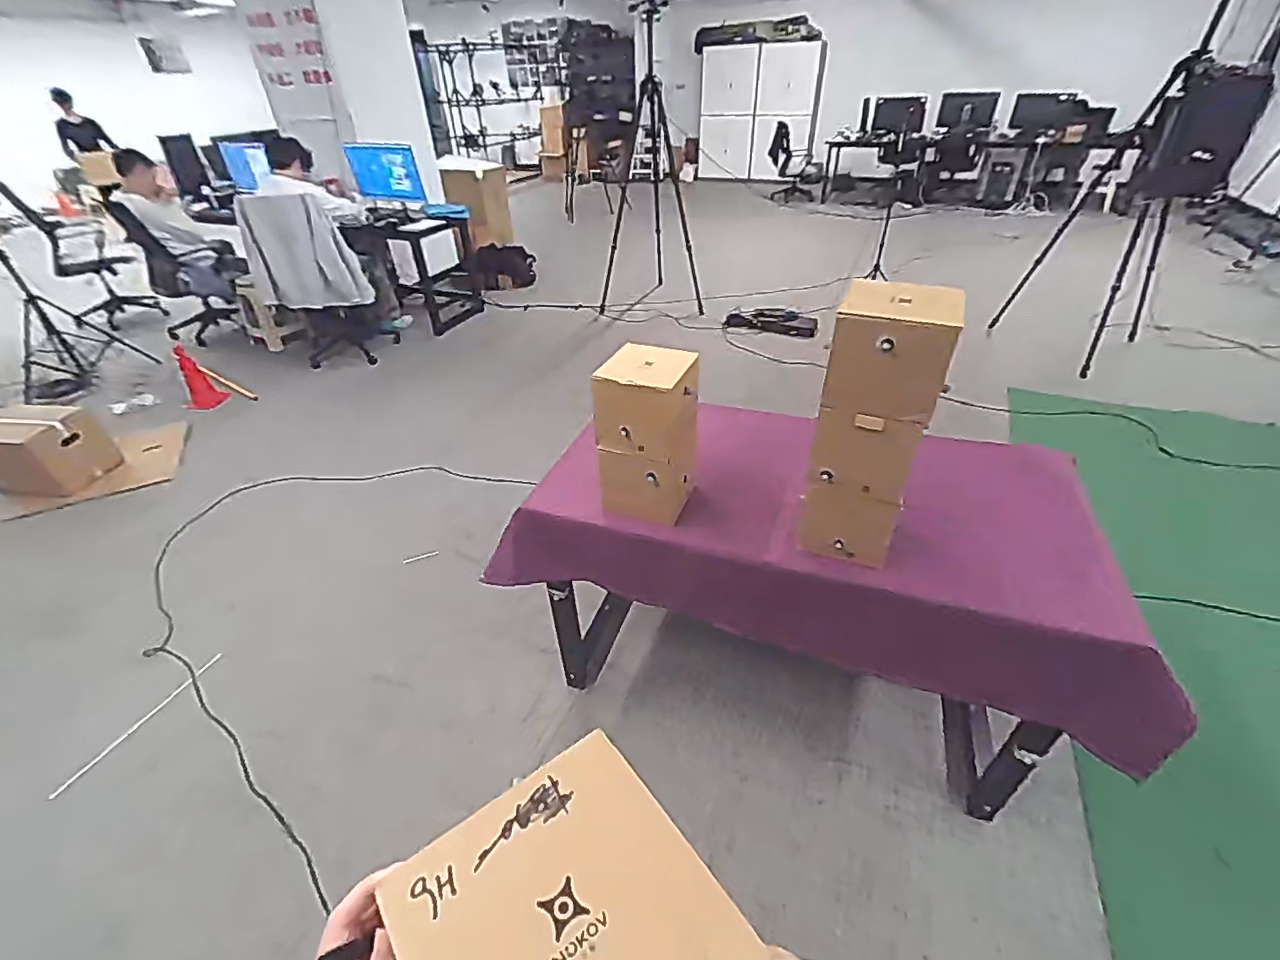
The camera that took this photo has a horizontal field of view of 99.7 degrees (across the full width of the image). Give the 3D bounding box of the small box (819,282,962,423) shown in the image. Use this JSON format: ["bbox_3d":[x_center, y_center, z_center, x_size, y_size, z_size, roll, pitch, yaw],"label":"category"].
[{"bbox_3d":[0.406,-0.211,0.890,0.179,0.176,0.168,15,42,23],"label":"small box"}]

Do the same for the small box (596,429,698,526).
[{"bbox_3d":[0.021,-0.018,1.210,0.179,0.176,0.168,12,38,19],"label":"small box"}]

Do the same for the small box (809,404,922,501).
[{"bbox_3d":[0.415,-0.084,0.992,0.168,0.176,0.179,14,39,22],"label":"small box"}]

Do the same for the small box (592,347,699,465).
[{"bbox_3d":[0.015,-0.155,1.121,0.168,0.176,0.179,13,40,20],"label":"small box"}]
